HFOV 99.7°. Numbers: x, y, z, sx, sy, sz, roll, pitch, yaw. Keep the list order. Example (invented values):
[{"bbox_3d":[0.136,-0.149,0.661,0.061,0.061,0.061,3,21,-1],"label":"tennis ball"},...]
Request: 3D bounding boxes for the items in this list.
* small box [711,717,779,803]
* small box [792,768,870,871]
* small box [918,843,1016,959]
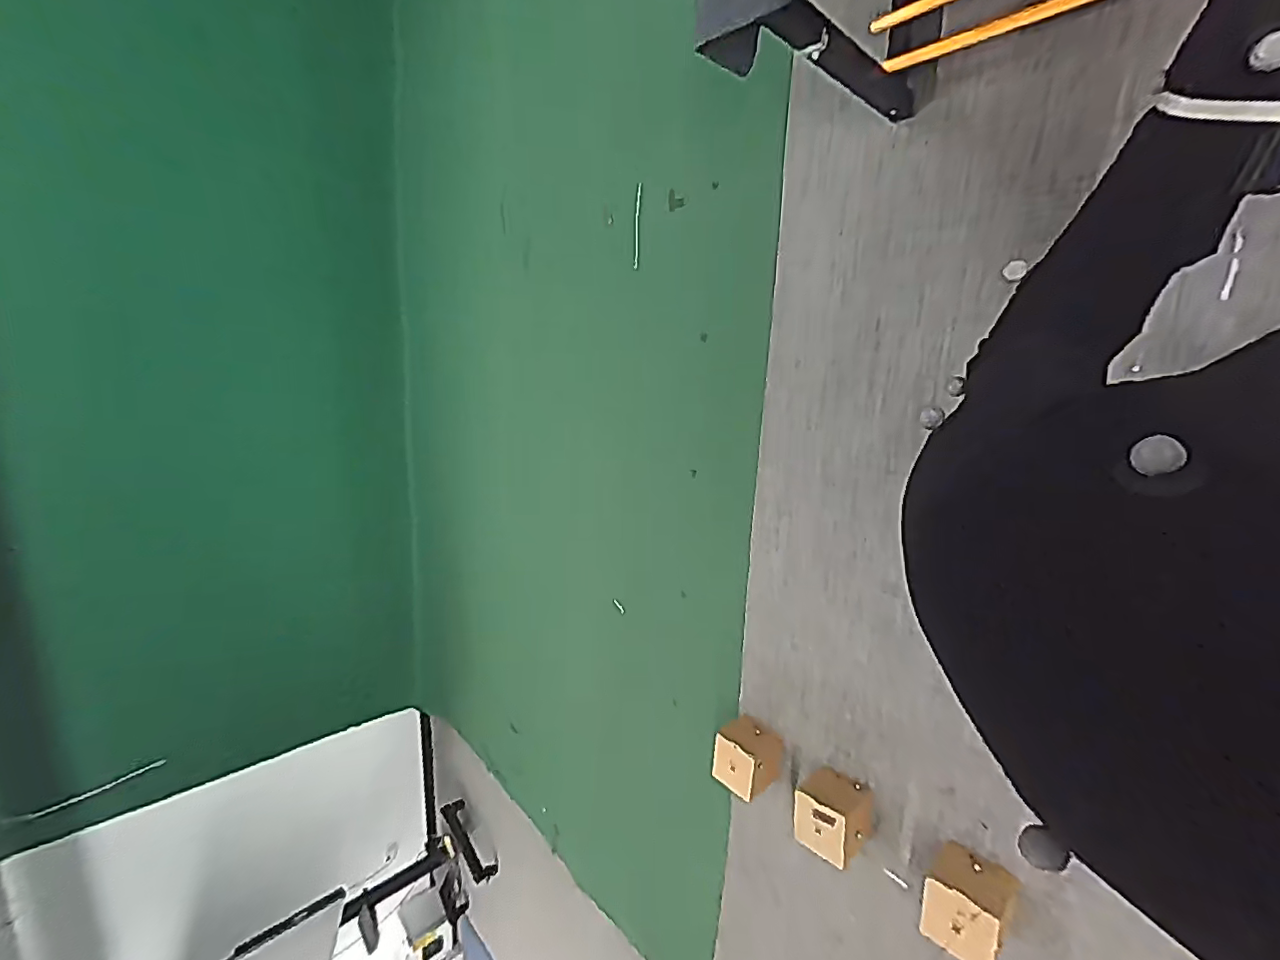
[{"bbox_3d":[0.367,0.967,1.885,0.168,0.176,0.179,16,107,45],"label":"small box"},{"bbox_3d":[0.585,1.025,1.652,0.168,0.176,0.179,9,103,47],"label":"small box"},{"bbox_3d":[0.836,1.090,1.381,0.168,0.176,0.179,12,103,45],"label":"small box"}]
